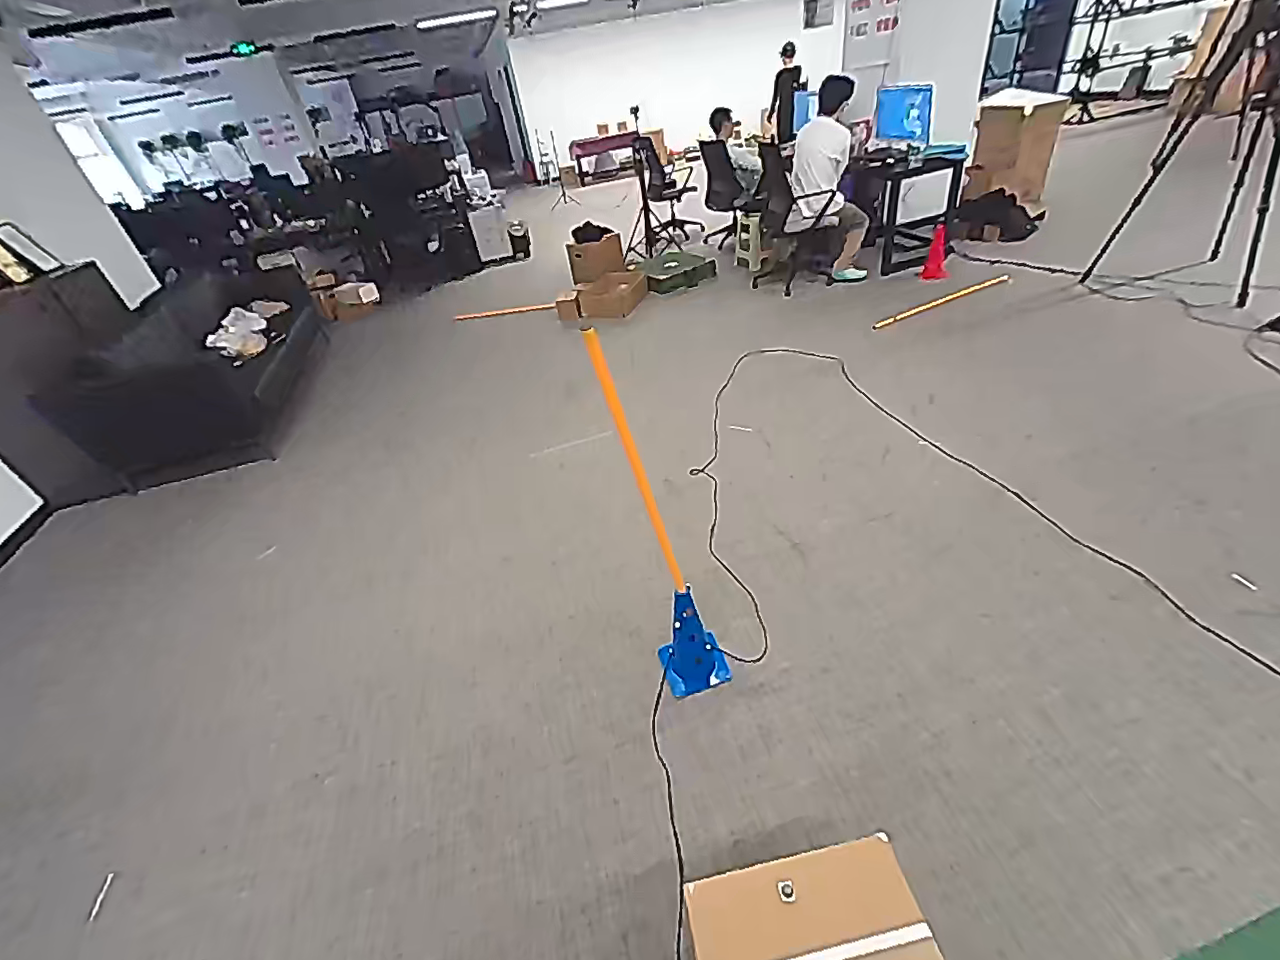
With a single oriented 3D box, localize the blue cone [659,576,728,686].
[{"bbox_3d":[0.143,0.438,1.651,0.193,0.380,0.192,-20,37,-9],"label":"blue cone"}]
